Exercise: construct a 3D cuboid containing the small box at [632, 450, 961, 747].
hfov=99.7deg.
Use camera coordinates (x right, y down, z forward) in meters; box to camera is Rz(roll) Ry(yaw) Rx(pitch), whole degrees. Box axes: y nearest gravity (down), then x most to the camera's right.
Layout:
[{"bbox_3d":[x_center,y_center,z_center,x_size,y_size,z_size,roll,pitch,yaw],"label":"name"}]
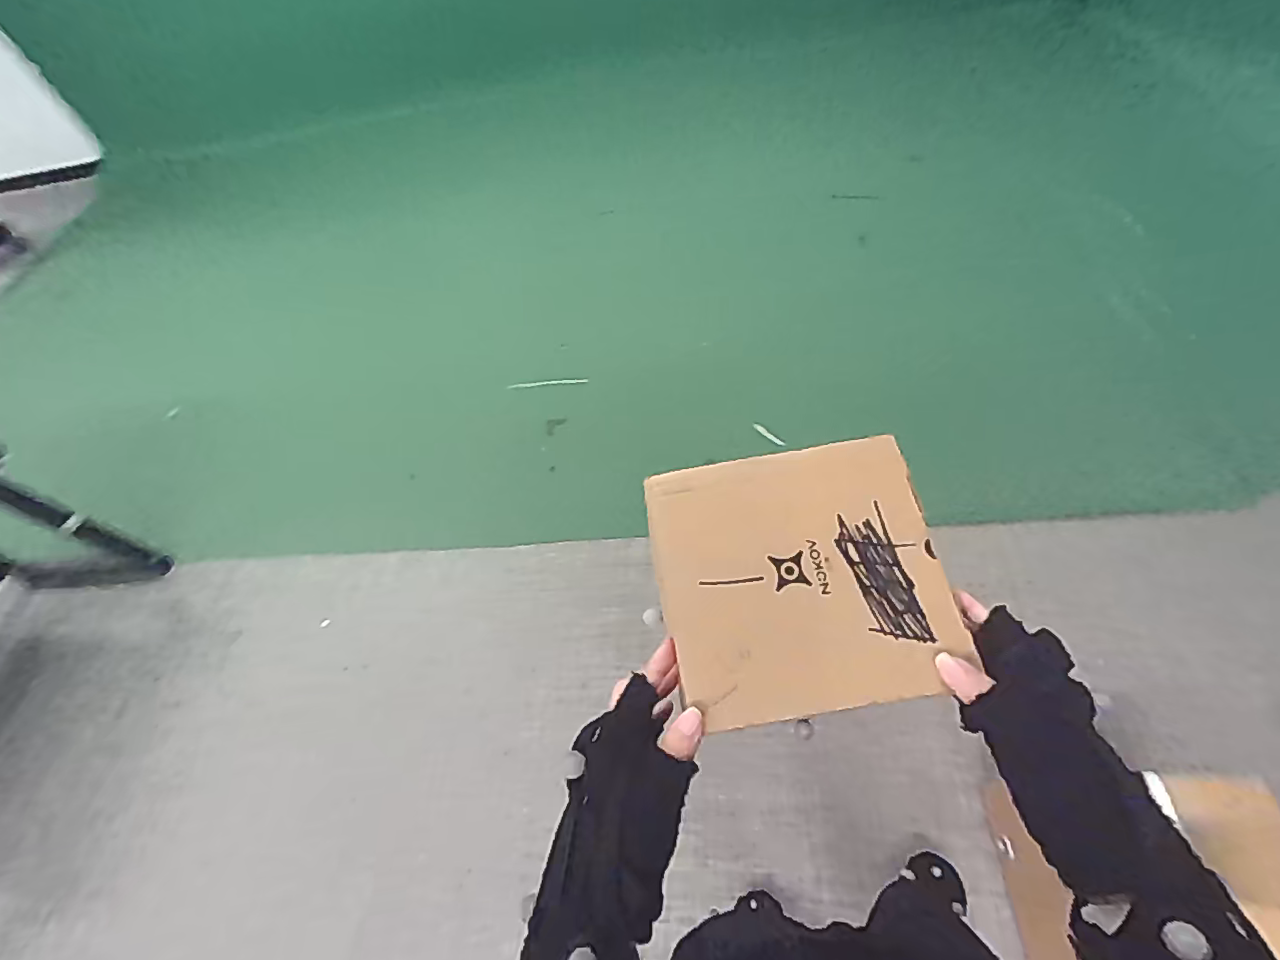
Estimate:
[{"bbox_3d":[0.094,0.096,0.415,0.179,0.176,0.168,-10,66,-1],"label":"small box"}]
